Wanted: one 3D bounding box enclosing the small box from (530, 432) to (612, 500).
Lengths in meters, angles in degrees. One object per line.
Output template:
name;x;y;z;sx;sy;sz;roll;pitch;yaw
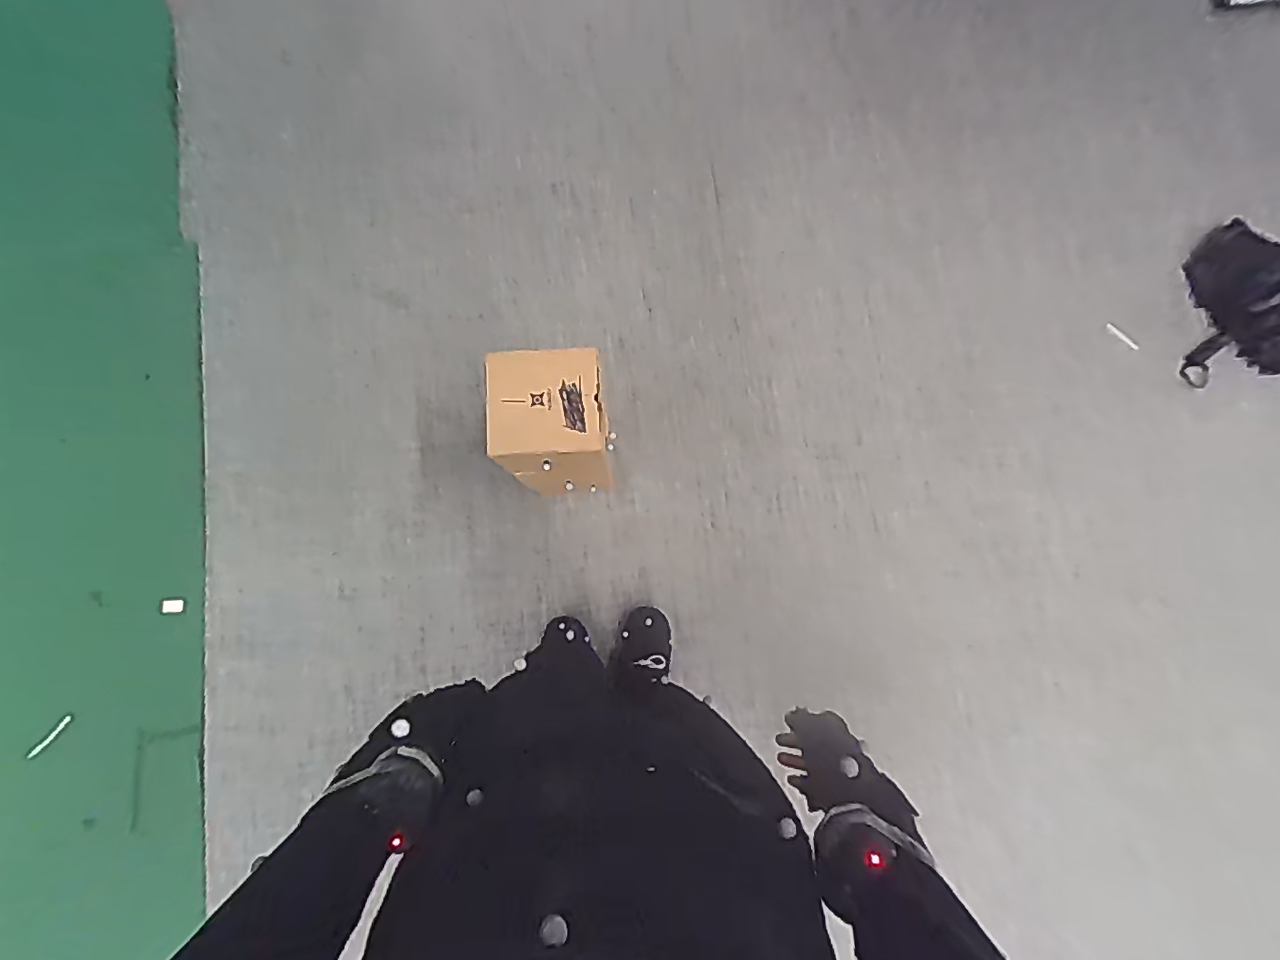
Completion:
small box;-0.158;-0.051;1.243;0.179;0.176;0.168;-7;81;0

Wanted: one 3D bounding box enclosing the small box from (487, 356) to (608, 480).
small box;-0.149;-0.098;0.918;0.179;0.176;0.168;-6;82;-3

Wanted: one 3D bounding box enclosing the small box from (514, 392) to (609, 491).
small box;-0.152;-0.072;1.080;0.179;0.176;0.168;-5;81;-2
